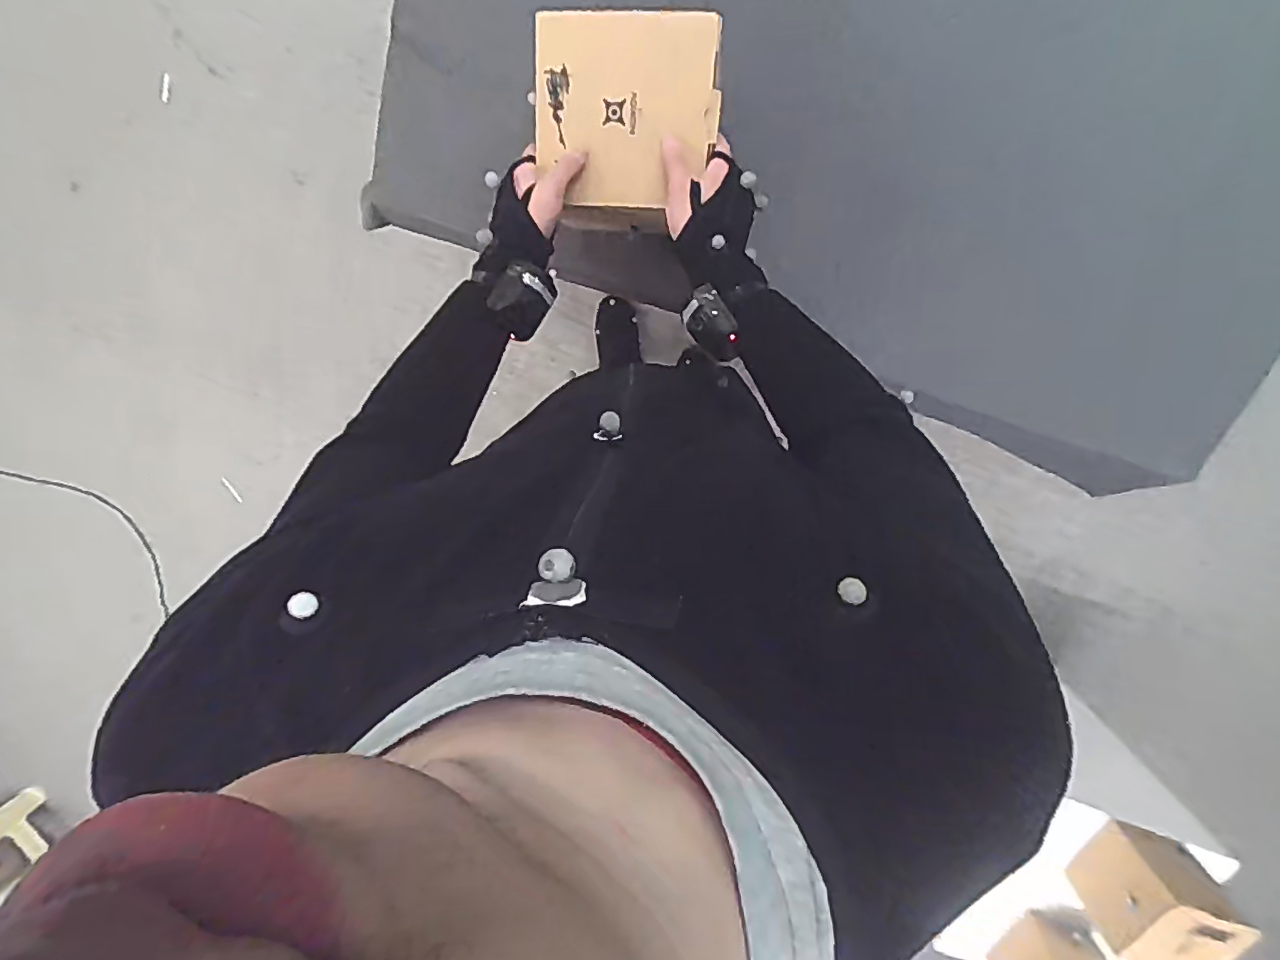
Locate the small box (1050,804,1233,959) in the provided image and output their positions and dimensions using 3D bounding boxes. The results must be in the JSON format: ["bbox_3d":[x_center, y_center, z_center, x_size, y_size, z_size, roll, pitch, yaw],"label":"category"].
[{"bbox_3d":[0.986,0.797,1.086,0.168,0.176,0.179,20,111,-3],"label":"small box"}]

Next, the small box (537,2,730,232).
[{"bbox_3d":[-0.006,-0.374,0.590,0.179,0.176,0.168,5,108,3],"label":"small box"}]

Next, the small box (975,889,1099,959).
[{"bbox_3d":[0.882,1.059,1.187,0.168,0.176,0.179,22,108,-4],"label":"small box"}]
